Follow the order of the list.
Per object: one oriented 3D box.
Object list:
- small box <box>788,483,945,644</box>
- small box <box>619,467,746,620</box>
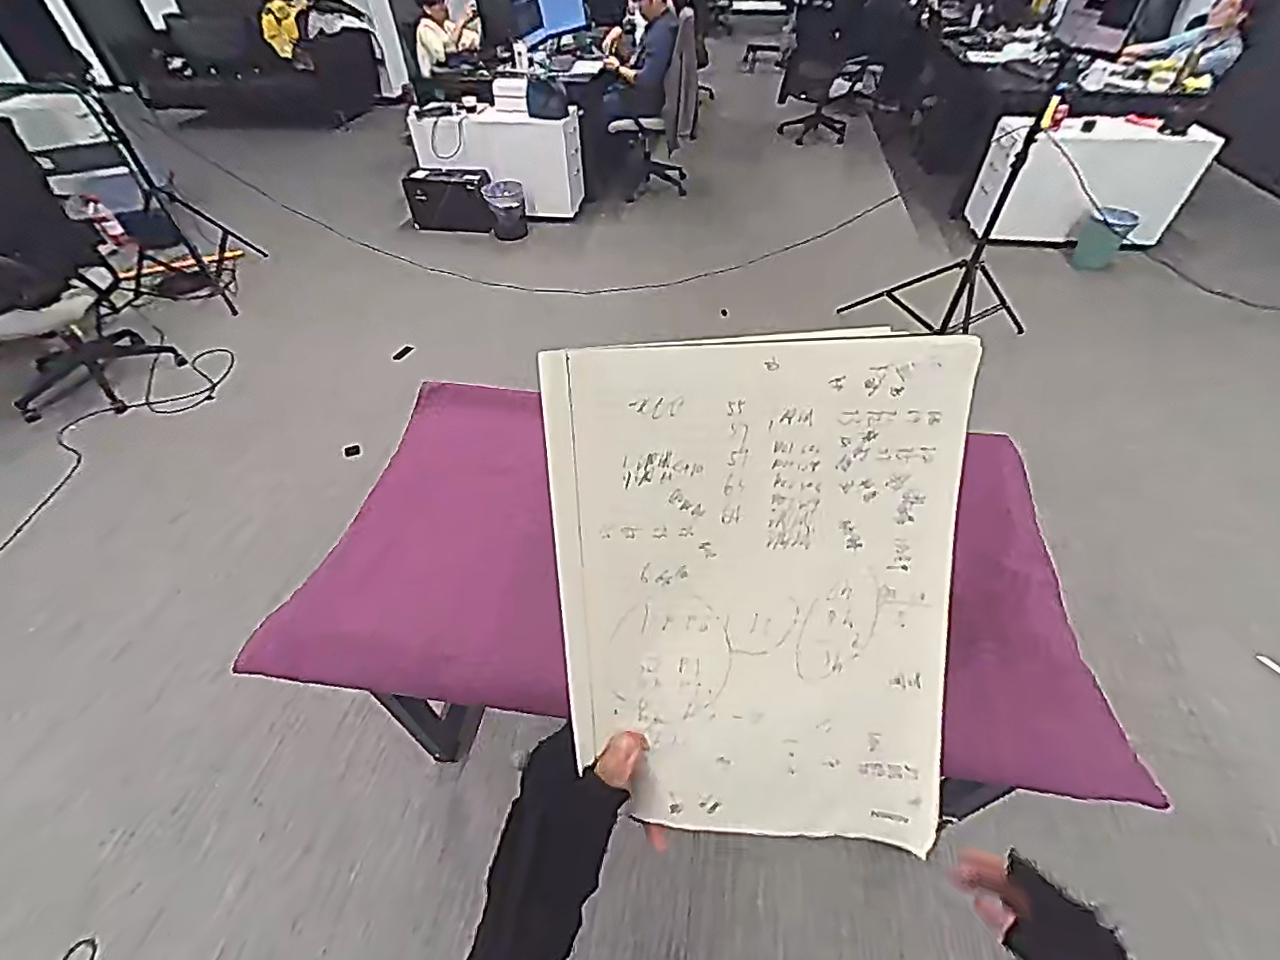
[{"bbox_3d":[0.330,0.130,0.825,0.179,0.176,0.168,7,45,10],"label":"small box"},{"bbox_3d":[0.068,0.103,0.856,0.179,0.176,0.168,6,46,6],"label":"small box"}]
